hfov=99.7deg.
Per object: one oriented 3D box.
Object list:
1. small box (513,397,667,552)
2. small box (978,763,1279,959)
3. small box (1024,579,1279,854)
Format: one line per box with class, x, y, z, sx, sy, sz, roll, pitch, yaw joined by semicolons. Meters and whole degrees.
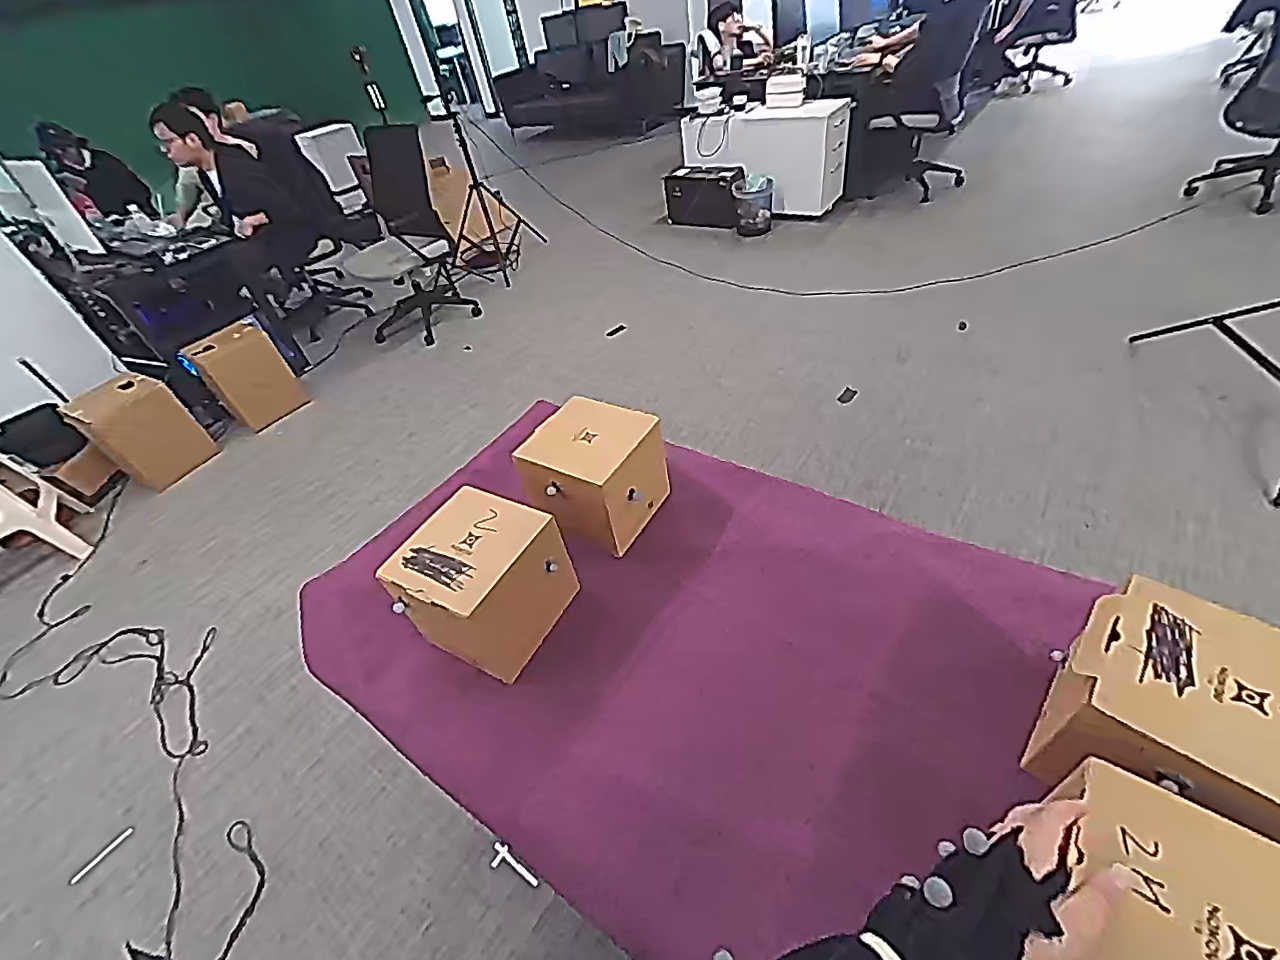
small box;-0.071;-0.006;0.887;0.179;0.176;0.168;18;51;28
small box;0.388;0.359;0.402;0.179;0.176;0.168;23;52;32
small box;0.503;0.234;0.508;0.179;0.176;0.168;28;57;33
